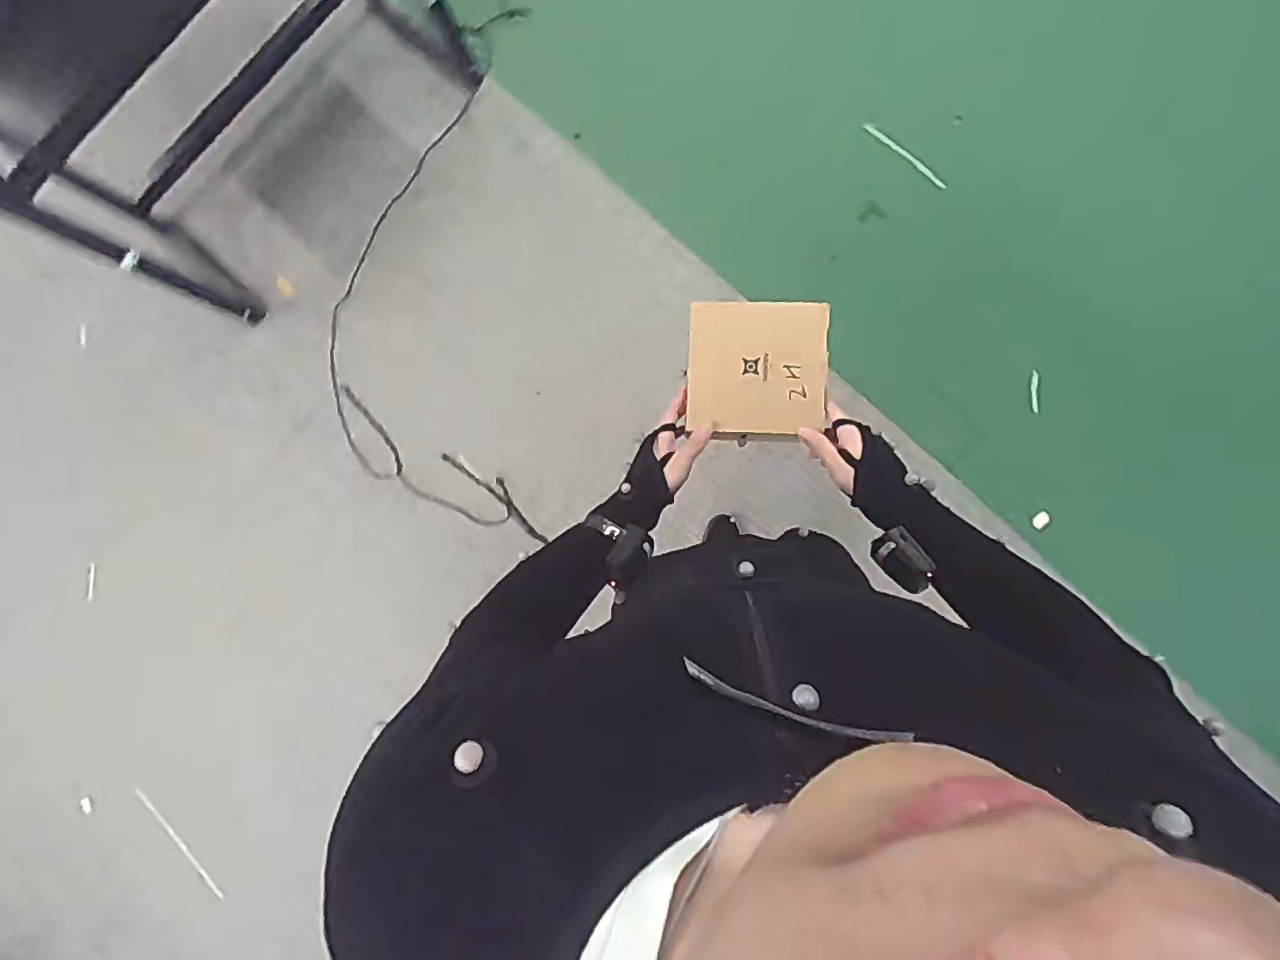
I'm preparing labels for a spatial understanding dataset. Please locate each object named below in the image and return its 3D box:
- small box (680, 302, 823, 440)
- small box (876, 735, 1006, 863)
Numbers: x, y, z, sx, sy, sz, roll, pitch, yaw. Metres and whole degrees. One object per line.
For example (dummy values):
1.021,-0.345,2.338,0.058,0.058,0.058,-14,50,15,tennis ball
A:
0.147,-0.143,0.760,0.179,0.176,0.168,1,92,4,small box
0.696,0.735,1.277,0.179,0.176,0.168,42,91,7,small box
